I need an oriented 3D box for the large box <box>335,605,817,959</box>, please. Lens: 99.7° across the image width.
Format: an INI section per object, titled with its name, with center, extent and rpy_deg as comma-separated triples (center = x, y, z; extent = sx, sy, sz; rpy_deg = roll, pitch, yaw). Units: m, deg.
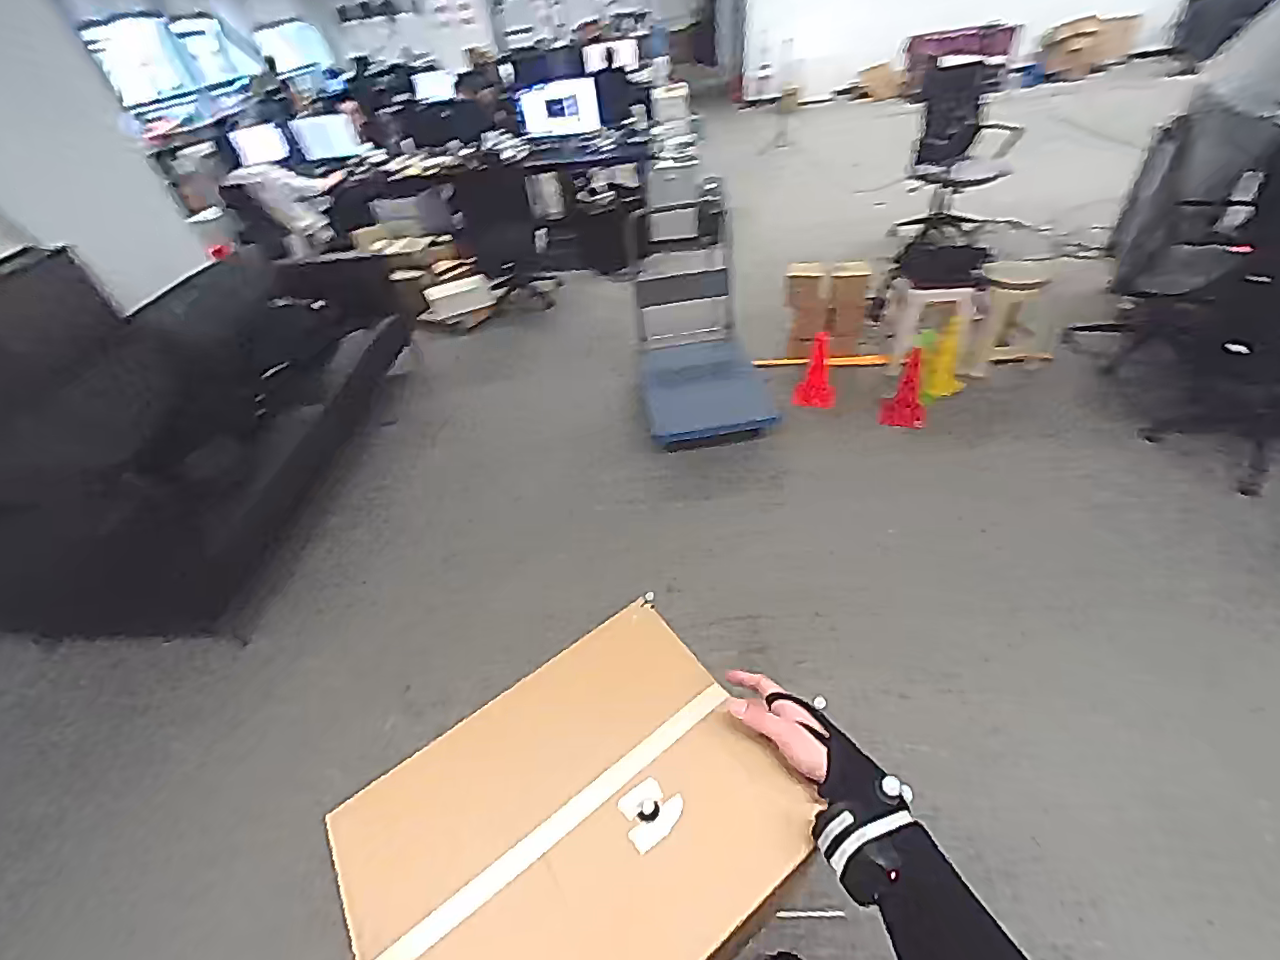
[large box]
center = -0.055, 0.441, 0.642
extent = 0.408, 0.320, 0.320
rpy_deg = -32, 50, -21
